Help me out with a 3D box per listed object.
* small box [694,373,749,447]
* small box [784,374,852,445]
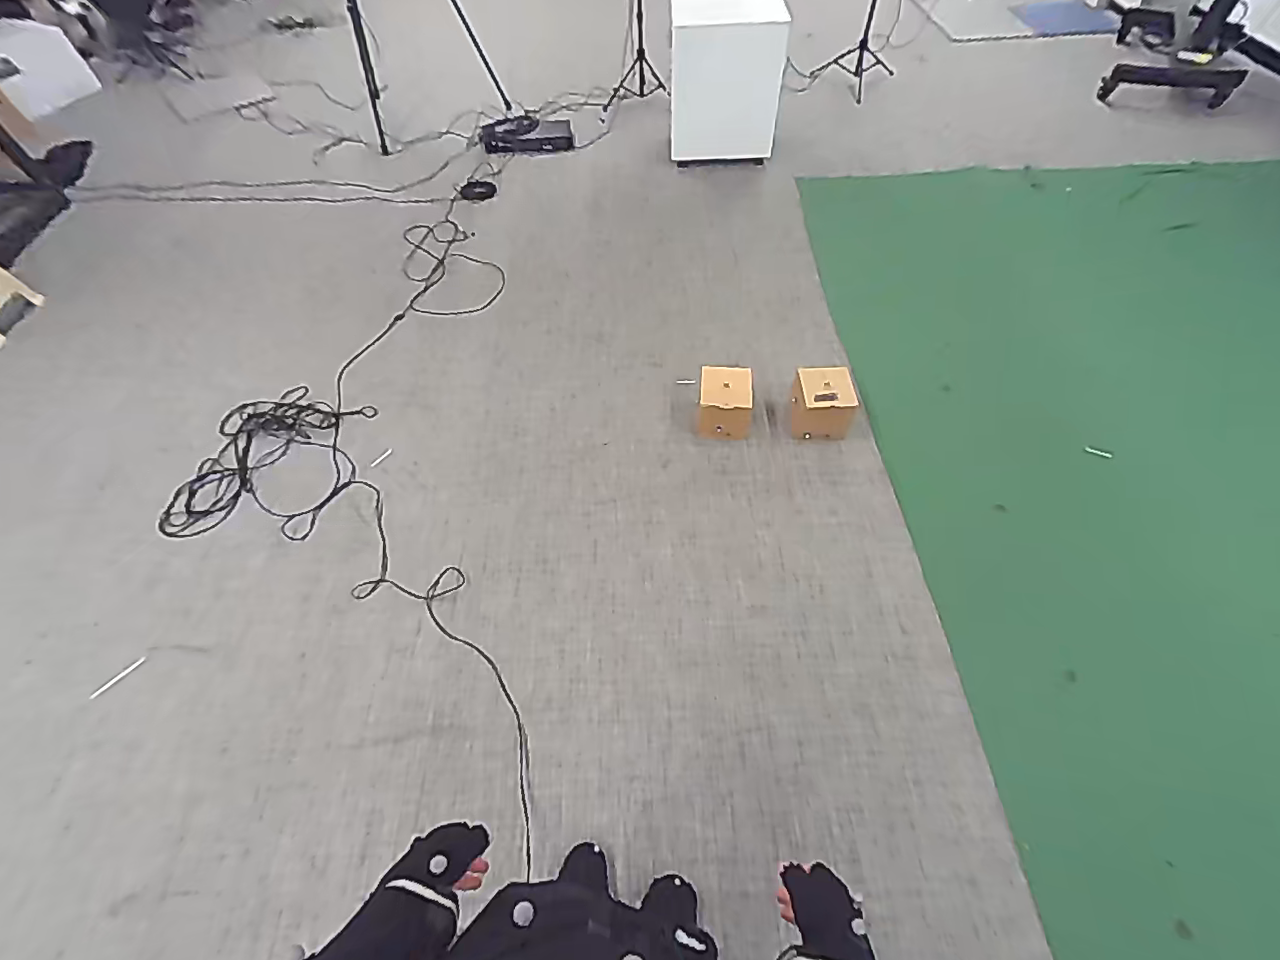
[{"bbox_3d":[0.270,-0.235,1.817,0.168,0.176,0.179,3,56,4],"label":"small box"},{"bbox_3d":[0.588,-0.231,1.805,0.168,0.176,0.179,-1,55,1],"label":"small box"}]
